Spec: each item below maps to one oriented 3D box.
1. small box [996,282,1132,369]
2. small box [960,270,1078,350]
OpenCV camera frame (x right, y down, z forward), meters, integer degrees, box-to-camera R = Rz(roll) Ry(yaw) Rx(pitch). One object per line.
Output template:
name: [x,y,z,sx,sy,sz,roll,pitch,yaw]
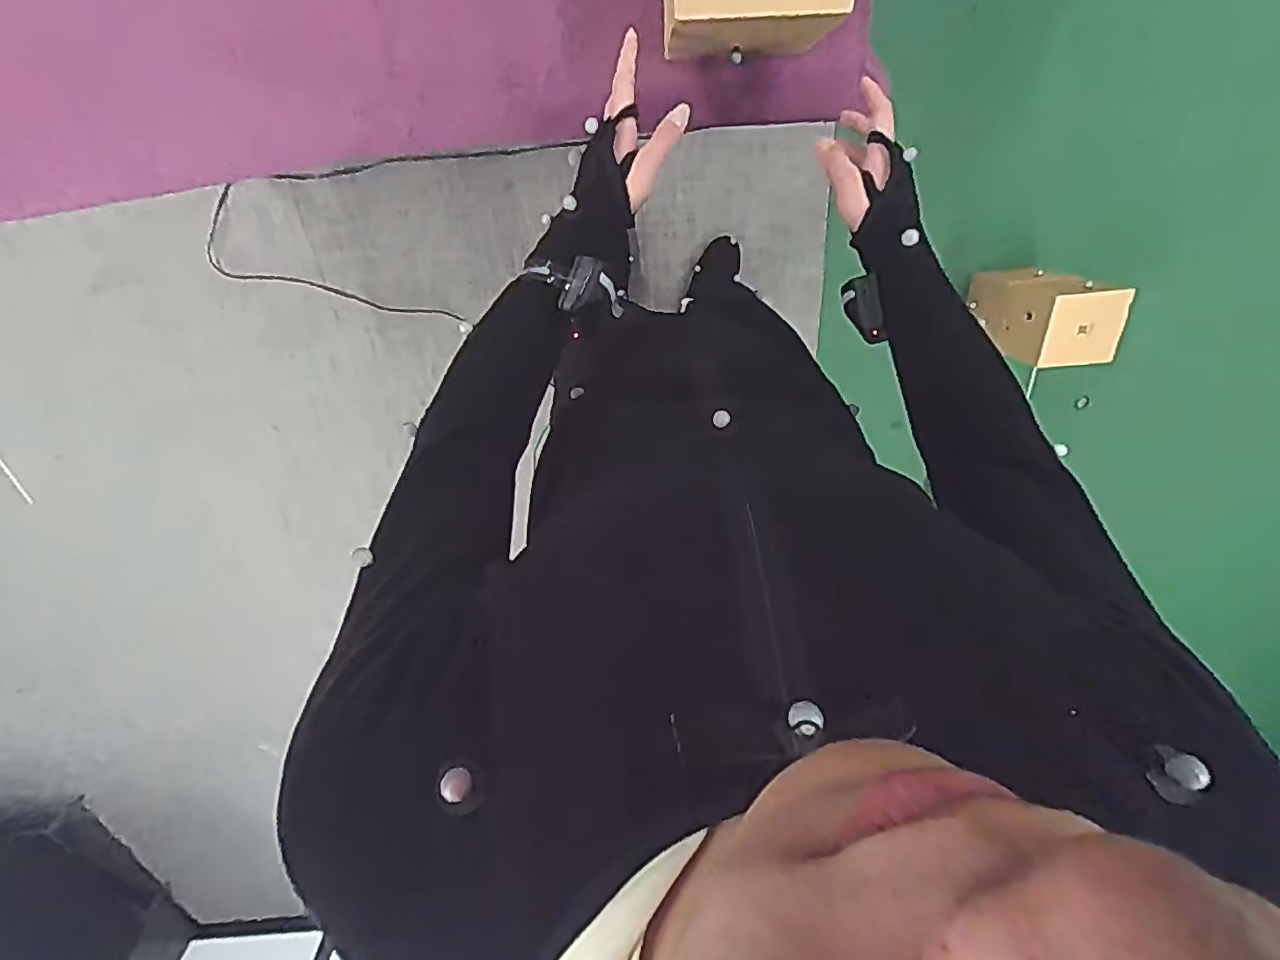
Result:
small box: [0.994,-0.372,1.289,0.179,0.176,0.168,-5,118,0]
small box: [0.990,-0.452,1.429,0.179,0.176,0.168,-5,118,2]
